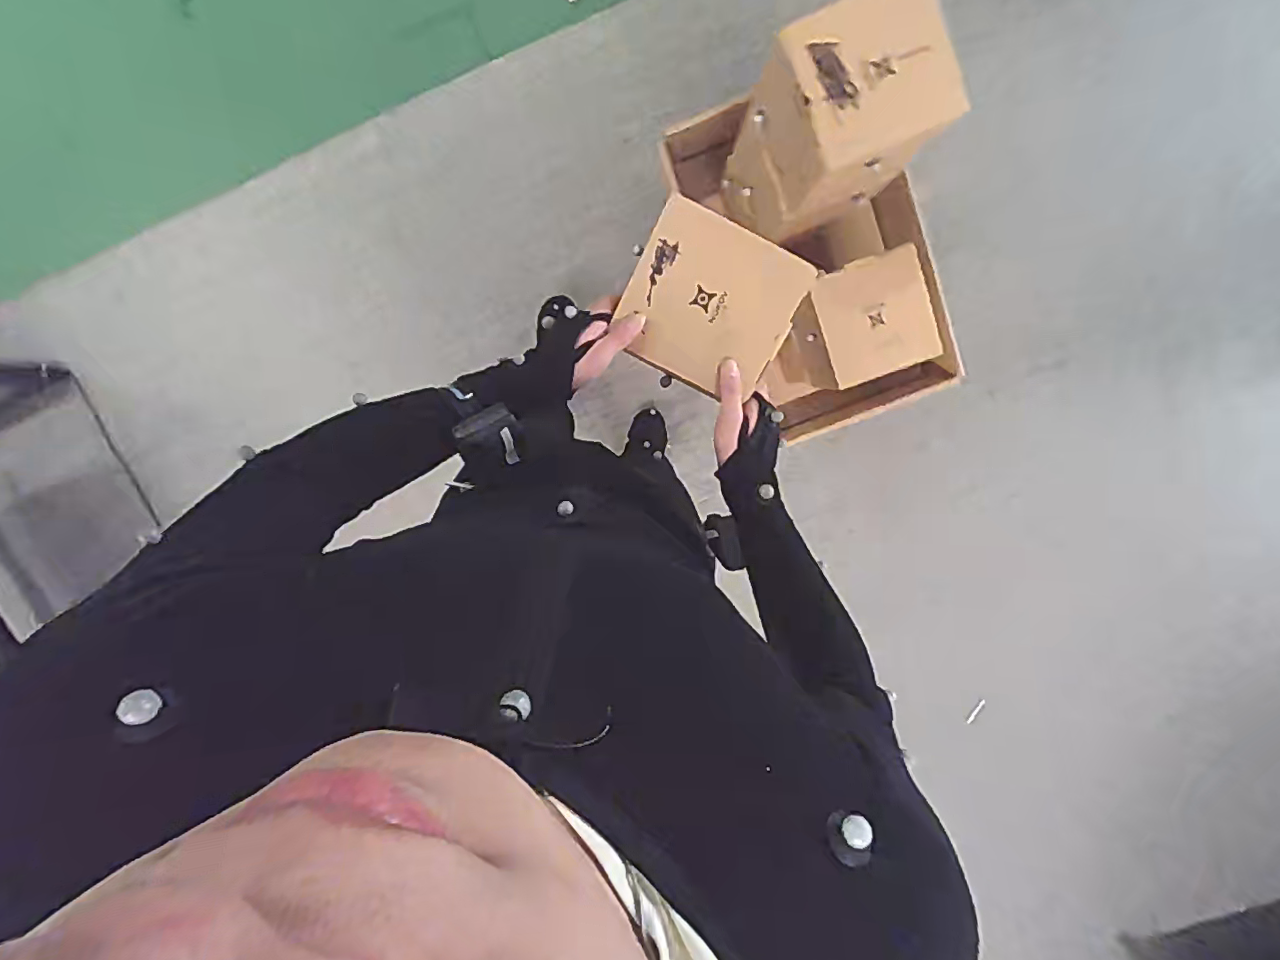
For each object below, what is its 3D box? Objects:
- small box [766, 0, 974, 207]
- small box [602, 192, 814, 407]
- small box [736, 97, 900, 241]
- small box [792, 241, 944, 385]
[{"bbox_3d":[0.273,-0.480,0.688,0.179,0.176,0.168,-22,100,4],"label":"small box"},{"bbox_3d":[0.070,-0.203,0.647,0.179,0.176,0.168,25,100,-5],"label":"small box"},{"bbox_3d":[0.269,-0.504,0.851,0.179,0.176,0.168,-21,99,4],"label":"small box"},{"bbox_3d":[0.362,-0.264,0.896,0.168,0.176,0.179,-19,100,5],"label":"small box"}]
